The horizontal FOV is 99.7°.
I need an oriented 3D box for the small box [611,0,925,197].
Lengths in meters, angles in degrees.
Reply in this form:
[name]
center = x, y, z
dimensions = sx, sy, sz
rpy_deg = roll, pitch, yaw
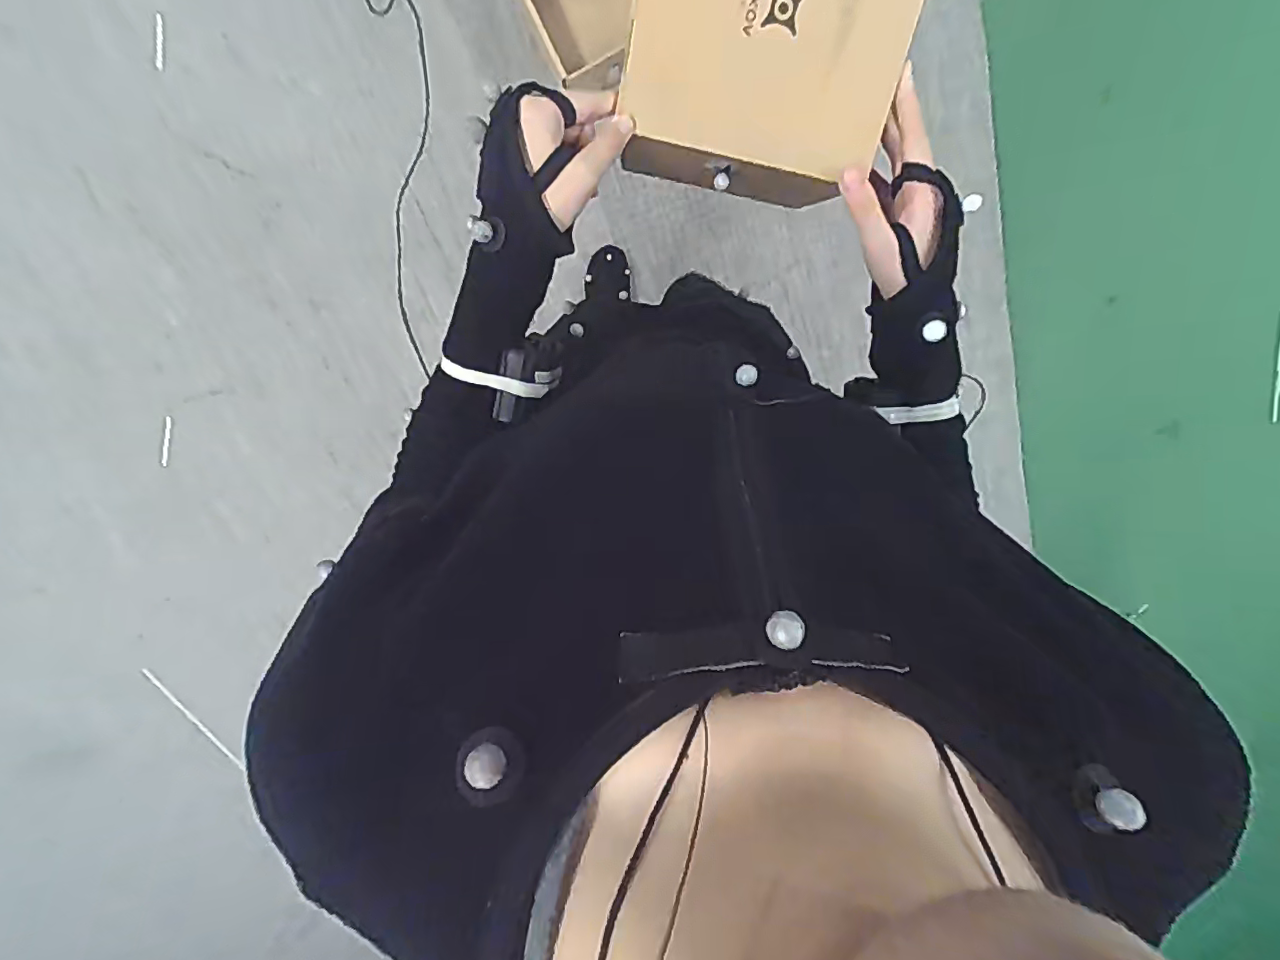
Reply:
[small box]
center = 0.081, -0.319, 0.394
dimensions = 0.179, 0.176, 0.168
rpy_deg = 11, 112, -6
